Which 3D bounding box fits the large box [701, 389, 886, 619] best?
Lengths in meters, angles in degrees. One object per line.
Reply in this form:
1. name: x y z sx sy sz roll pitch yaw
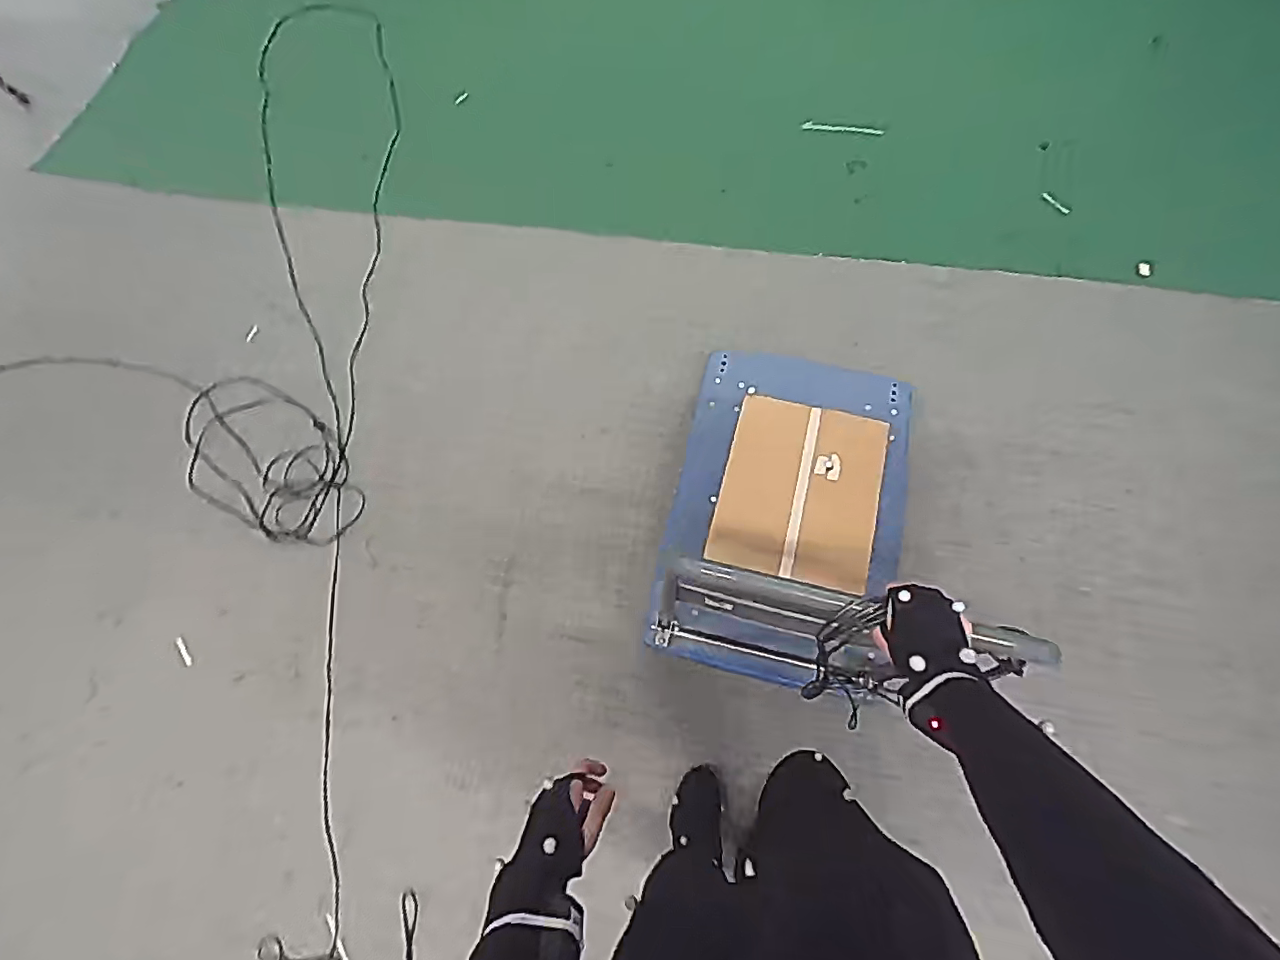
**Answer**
1. large box: 0.332 0.067 1.235 0.320 0.320 0.408 14 69 8
